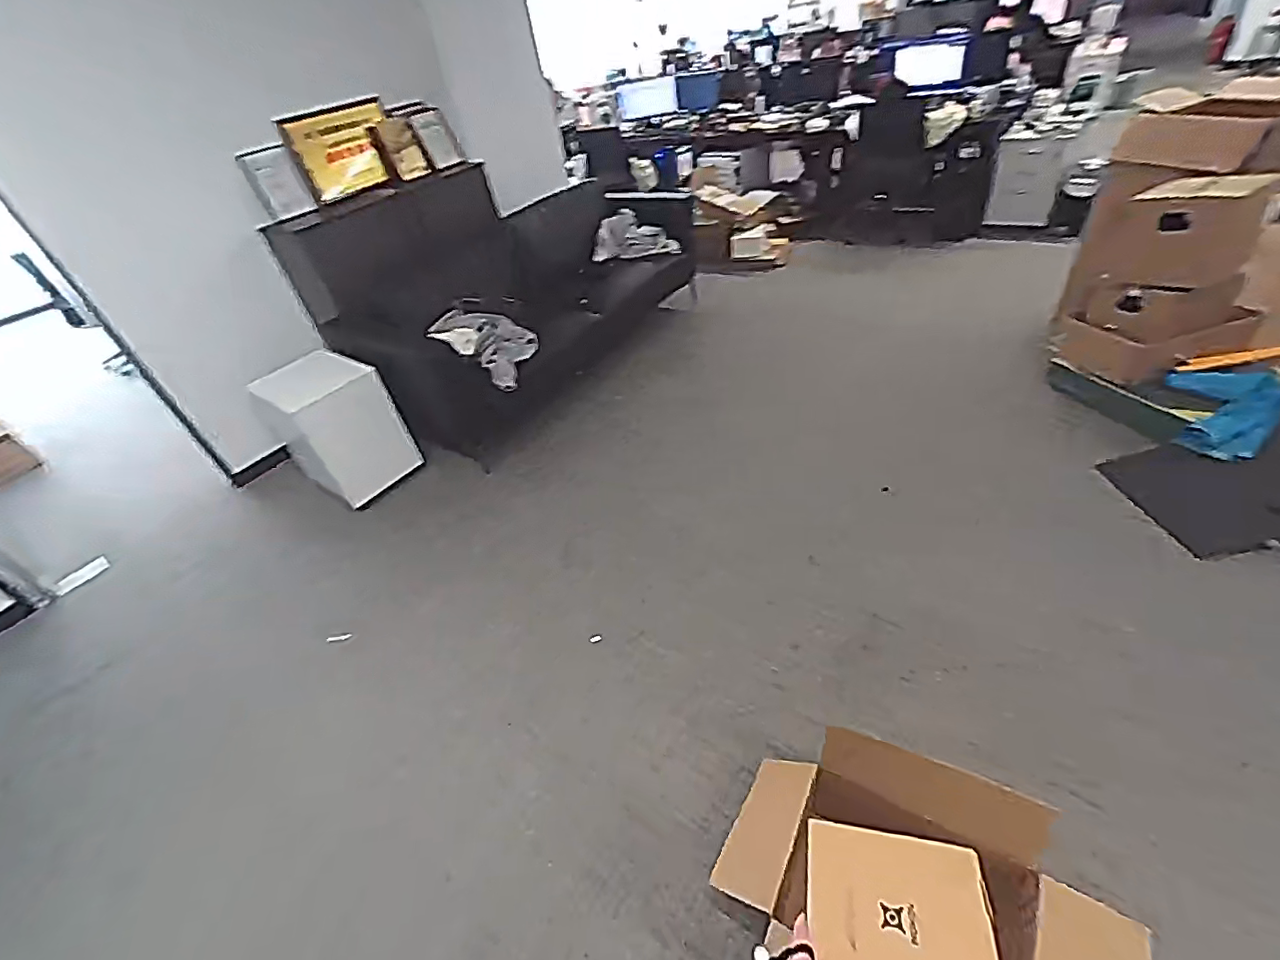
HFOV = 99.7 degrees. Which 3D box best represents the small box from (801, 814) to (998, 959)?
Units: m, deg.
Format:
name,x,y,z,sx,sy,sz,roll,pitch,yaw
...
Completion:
name,x,y,z,sx,sy,sz,roll,pitch,yaw
small box,0.270,0.505,0.583,0.179,0.176,0.168,0,30,21
